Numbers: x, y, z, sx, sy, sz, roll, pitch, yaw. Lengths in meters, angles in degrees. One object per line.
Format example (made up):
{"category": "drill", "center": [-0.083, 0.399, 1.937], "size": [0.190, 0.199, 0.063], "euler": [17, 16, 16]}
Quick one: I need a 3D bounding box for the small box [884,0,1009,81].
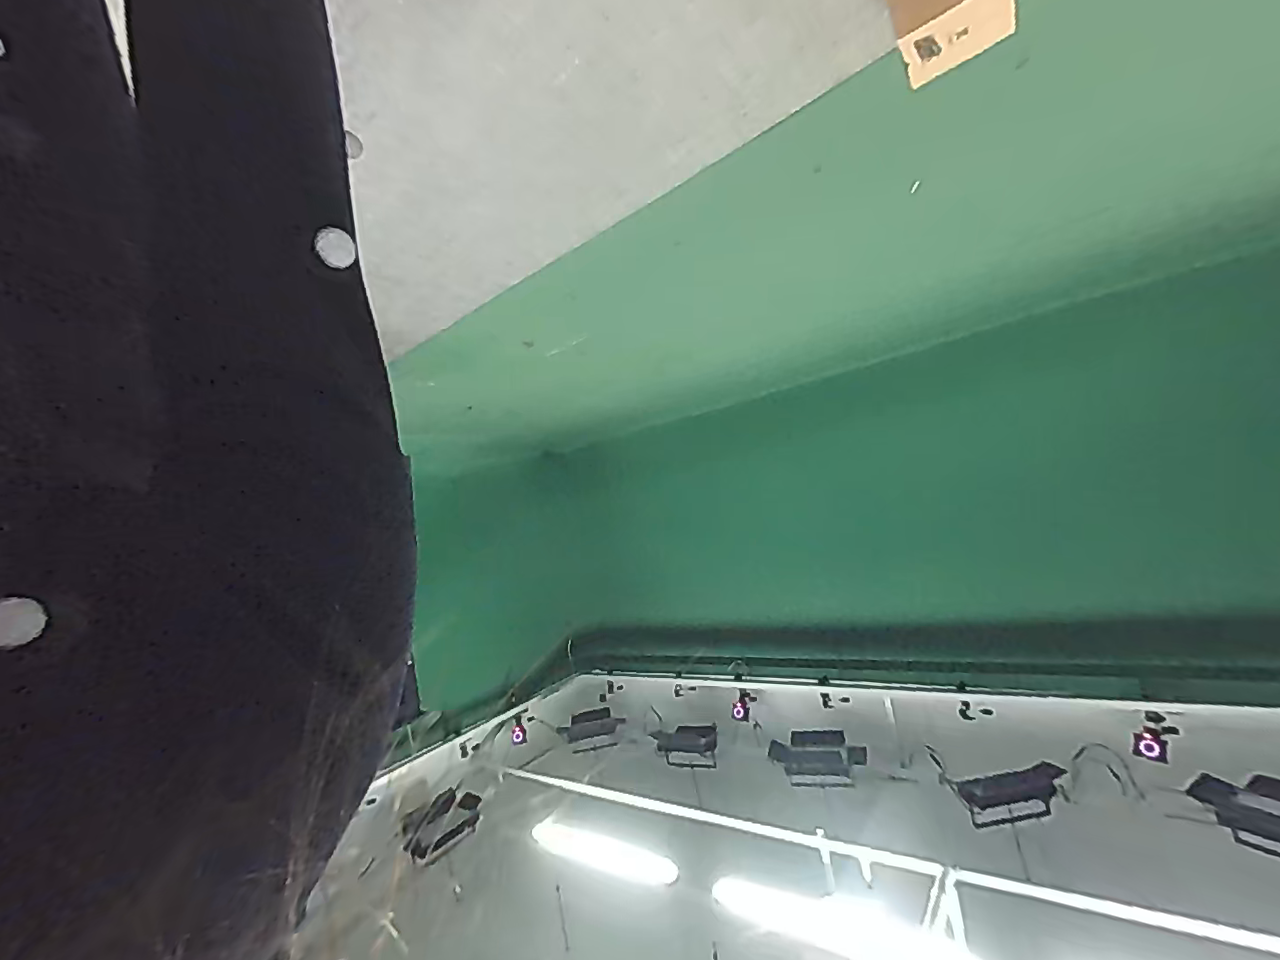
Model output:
{"category": "small box", "center": [0.539, -0.882, 0.966], "size": [0.179, 0.176, 0.168], "euler": [-14, 176, 35]}
